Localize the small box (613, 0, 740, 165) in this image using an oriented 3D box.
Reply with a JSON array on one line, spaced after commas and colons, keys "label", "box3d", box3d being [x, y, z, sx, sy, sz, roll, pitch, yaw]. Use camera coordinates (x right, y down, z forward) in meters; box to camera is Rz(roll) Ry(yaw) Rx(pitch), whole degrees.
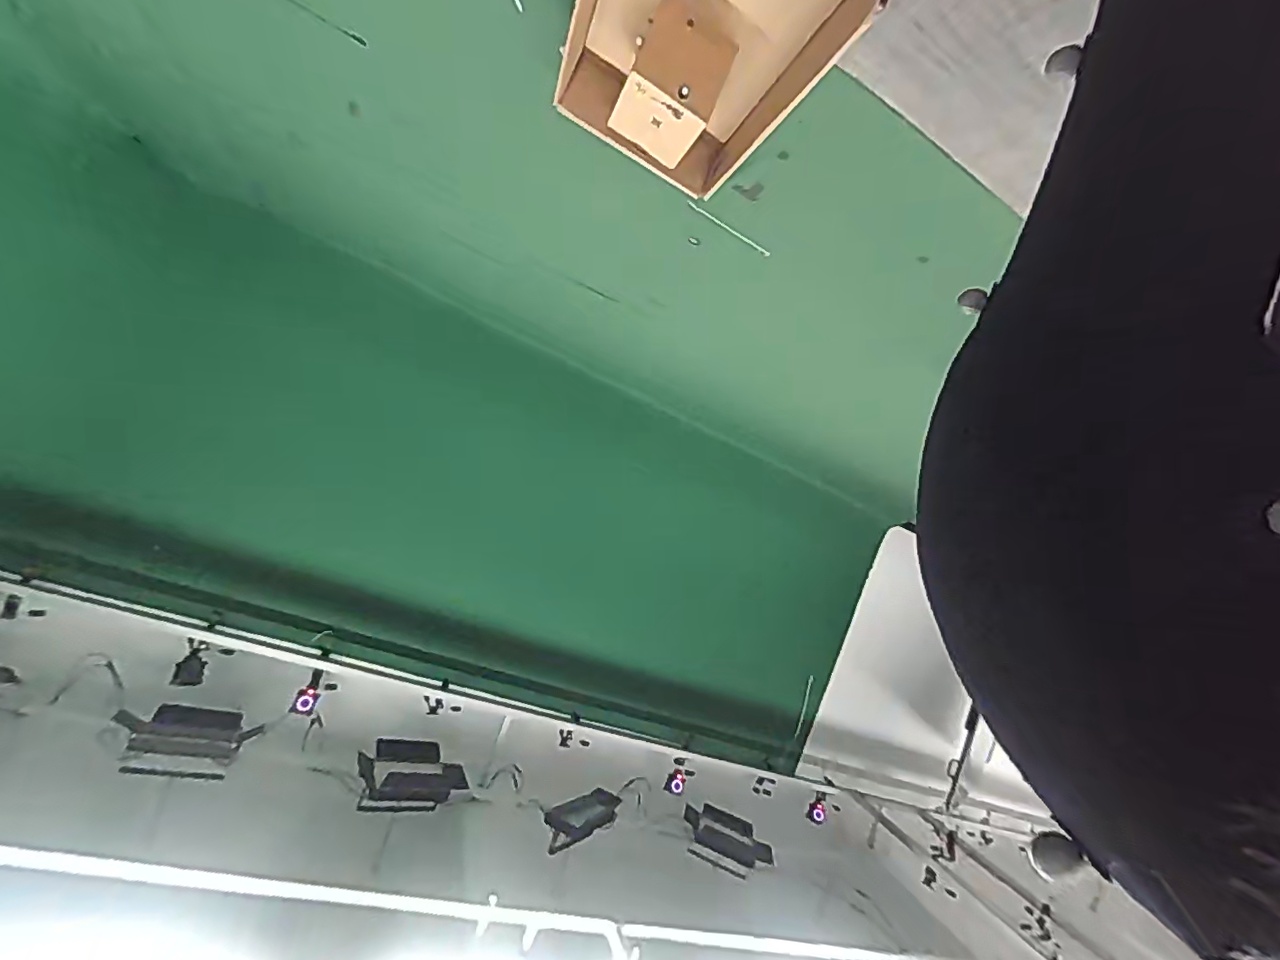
[{"label": "small box", "box3d": [0.072, -0.785, 1.077, 0.168, 0.176, 0.179, 25, 175, -18]}]
